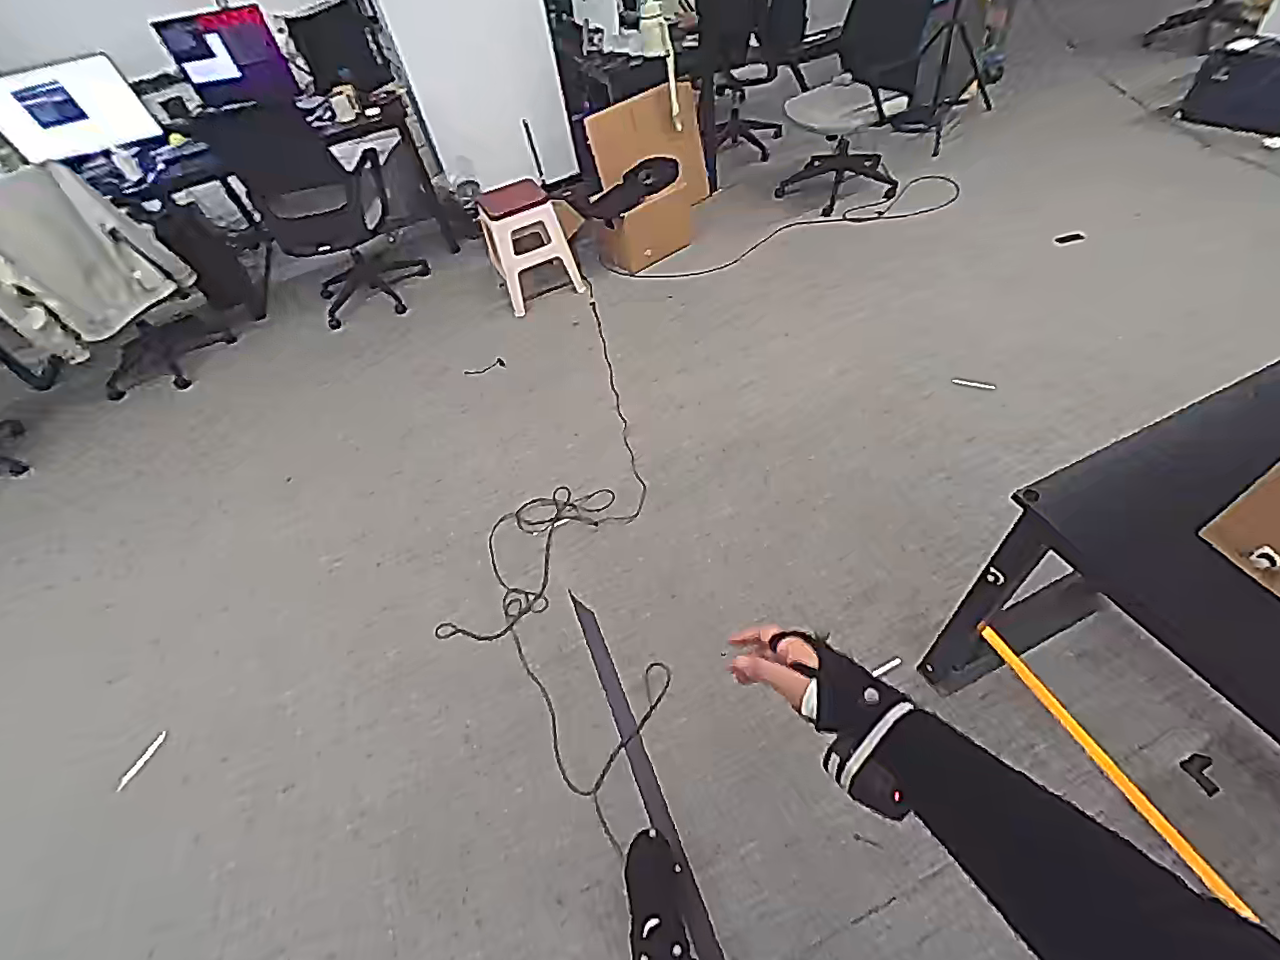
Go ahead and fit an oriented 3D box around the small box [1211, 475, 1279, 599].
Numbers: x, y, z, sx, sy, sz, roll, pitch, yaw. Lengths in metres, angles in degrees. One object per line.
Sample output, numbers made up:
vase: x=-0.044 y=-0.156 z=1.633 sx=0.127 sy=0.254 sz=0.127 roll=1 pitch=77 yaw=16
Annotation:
small box: x=0.877 y=0.056 z=0.653 sx=0.179 sy=0.176 sz=0.168 roll=-22 pitch=49 yaw=-6
